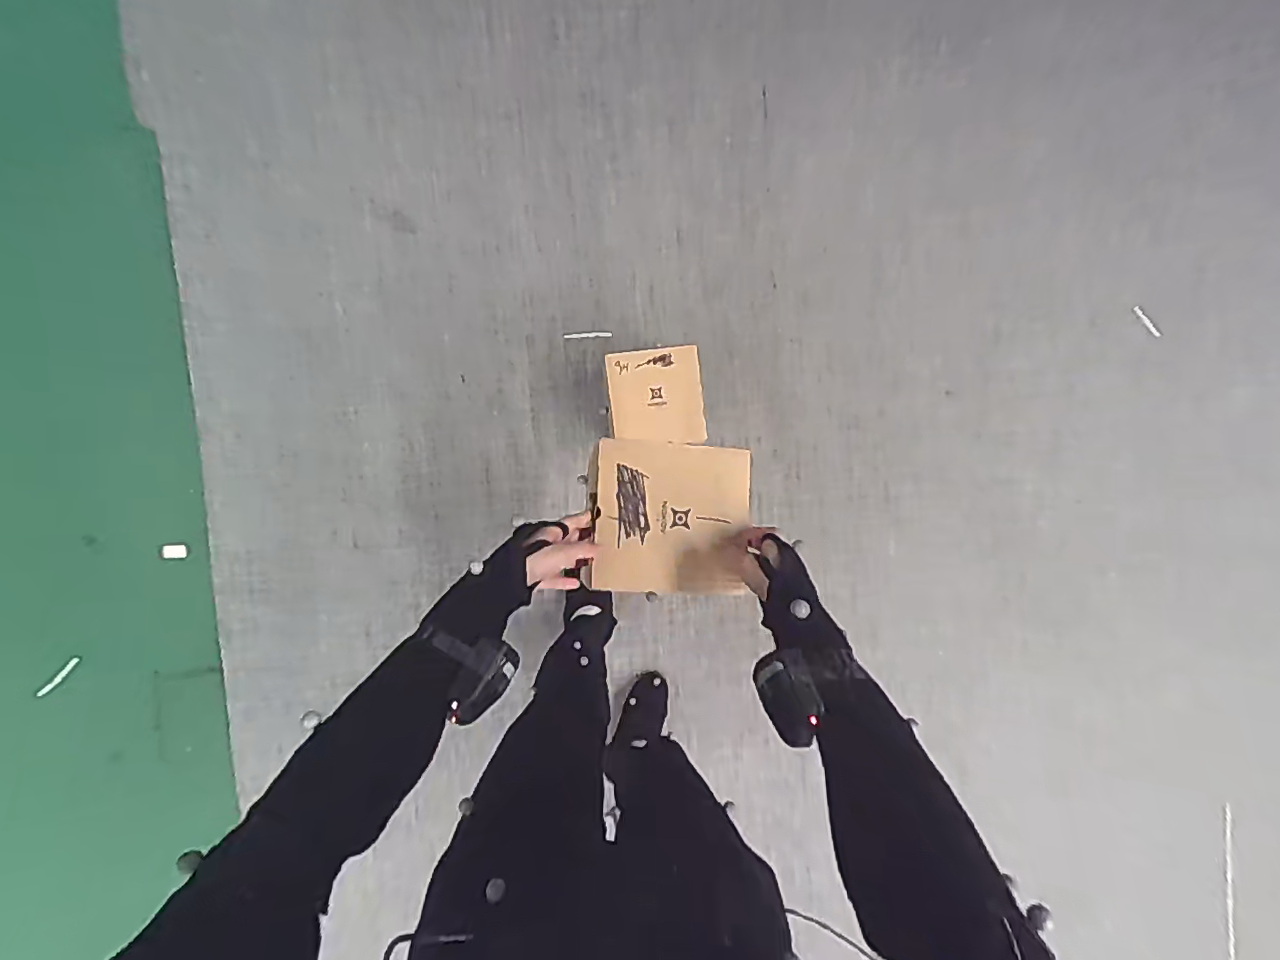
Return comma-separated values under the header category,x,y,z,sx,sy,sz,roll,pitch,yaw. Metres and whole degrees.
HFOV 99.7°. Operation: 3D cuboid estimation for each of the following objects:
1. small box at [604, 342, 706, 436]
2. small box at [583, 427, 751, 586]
category,x,y,z,sx,sy,sz,roll,pitch,yaw
small box,0.022,-0.154,1.023,0.168,0.176,0.179,-7,94,-5
small box,0.024,0.038,0.667,0.179,0.176,0.168,4,83,-9
